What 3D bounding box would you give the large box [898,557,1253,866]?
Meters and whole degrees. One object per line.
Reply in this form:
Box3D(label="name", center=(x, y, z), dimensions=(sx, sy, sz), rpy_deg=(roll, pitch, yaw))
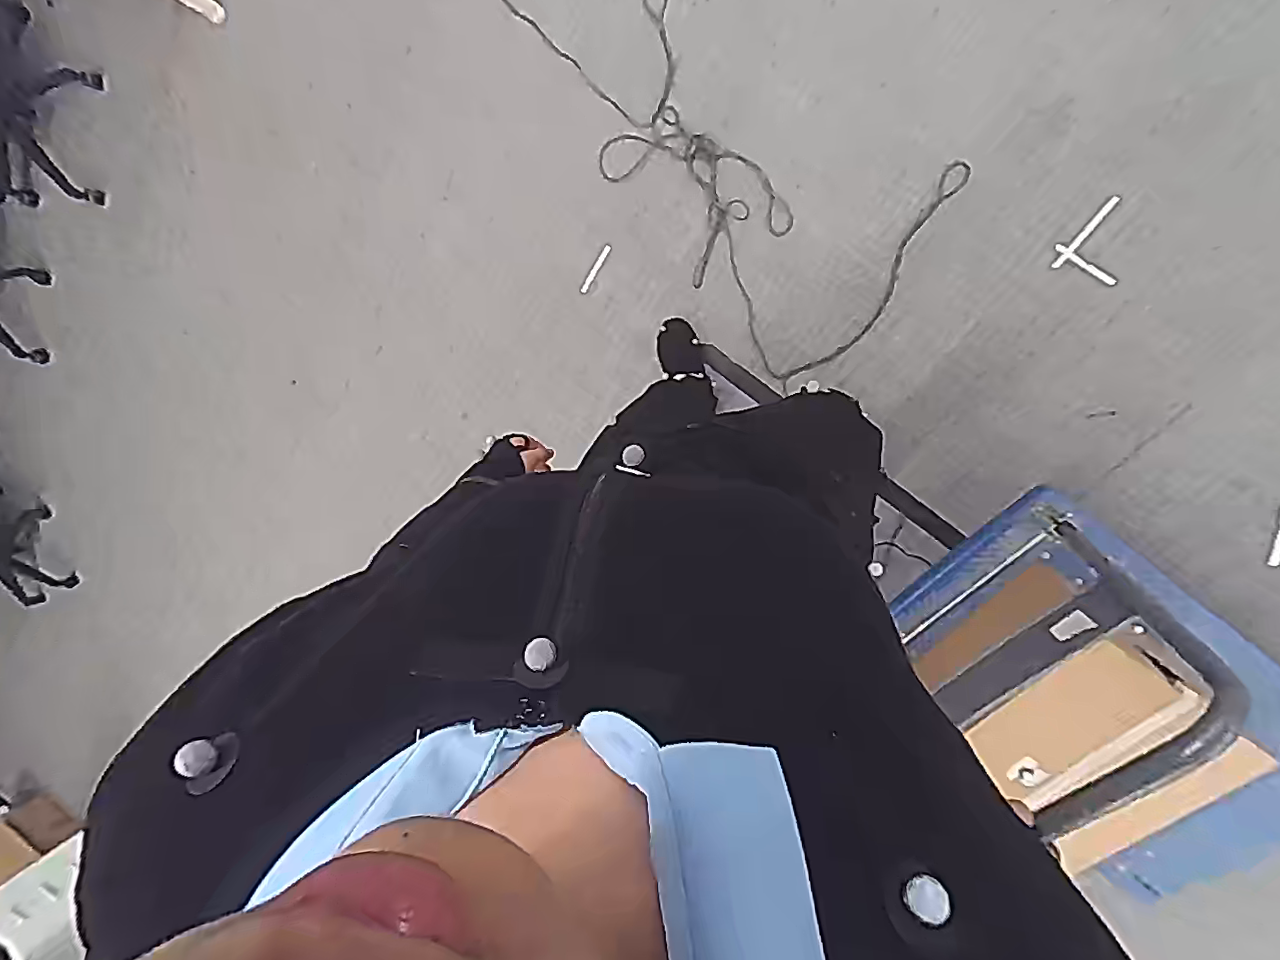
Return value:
Box3D(label="large box", center=(0.788, 0.434, 1.069), dimensions=(0.320, 0.320, 0.408), rpy_deg=(38, 115, 7))
